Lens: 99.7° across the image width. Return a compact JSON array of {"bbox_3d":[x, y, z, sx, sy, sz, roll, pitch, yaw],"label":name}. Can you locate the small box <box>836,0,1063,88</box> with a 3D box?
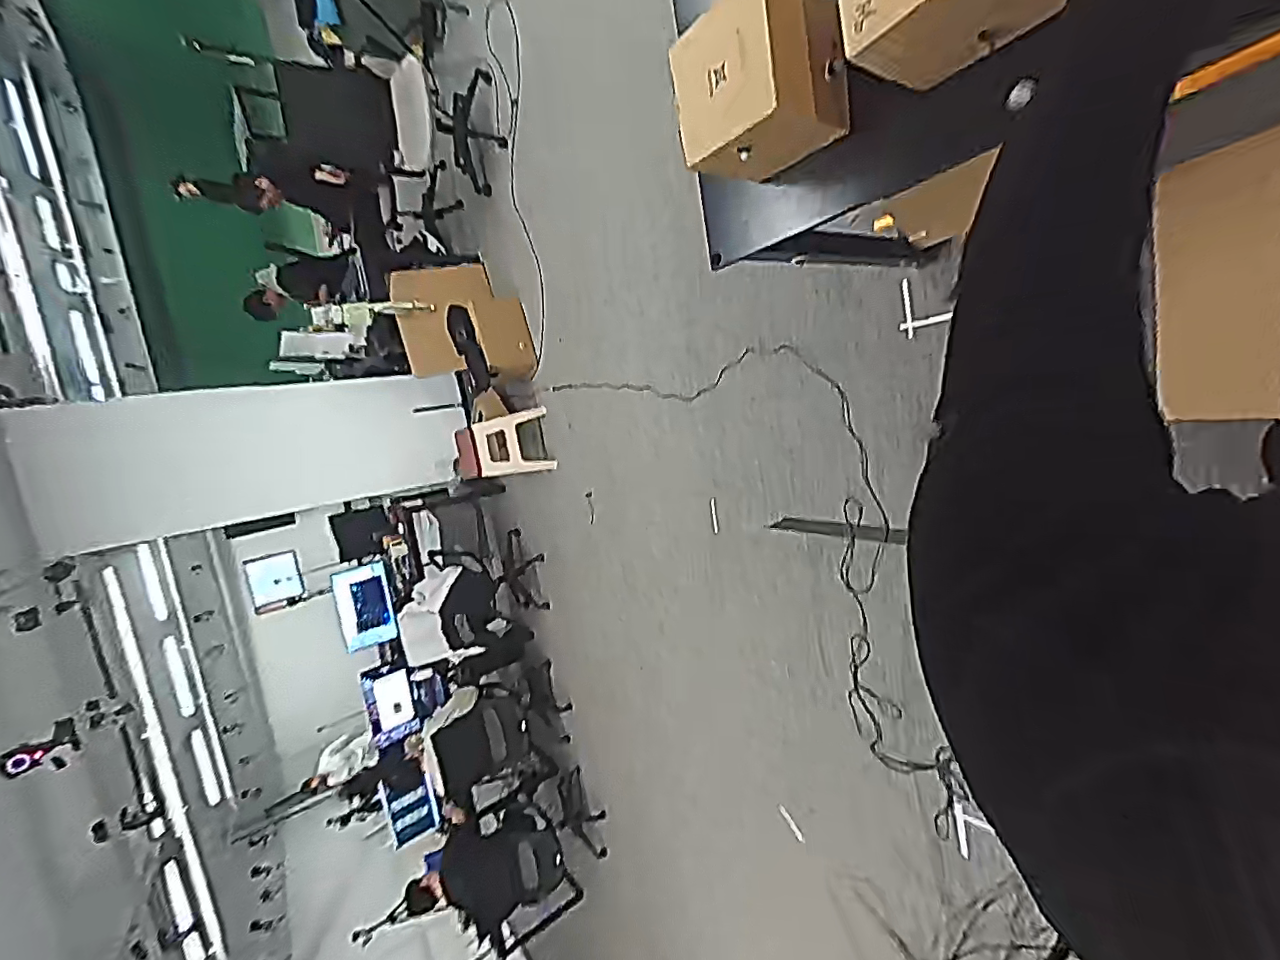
[{"bbox_3d":[0.316,-0.542,0.543,0.179,0.176,0.168,-3,99,54],"label":"small box"}]

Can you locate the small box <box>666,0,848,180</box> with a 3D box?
[{"bbox_3d":[0.163,-0.543,0.757,0.179,0.176,0.168,3,104,53],"label":"small box"}]
